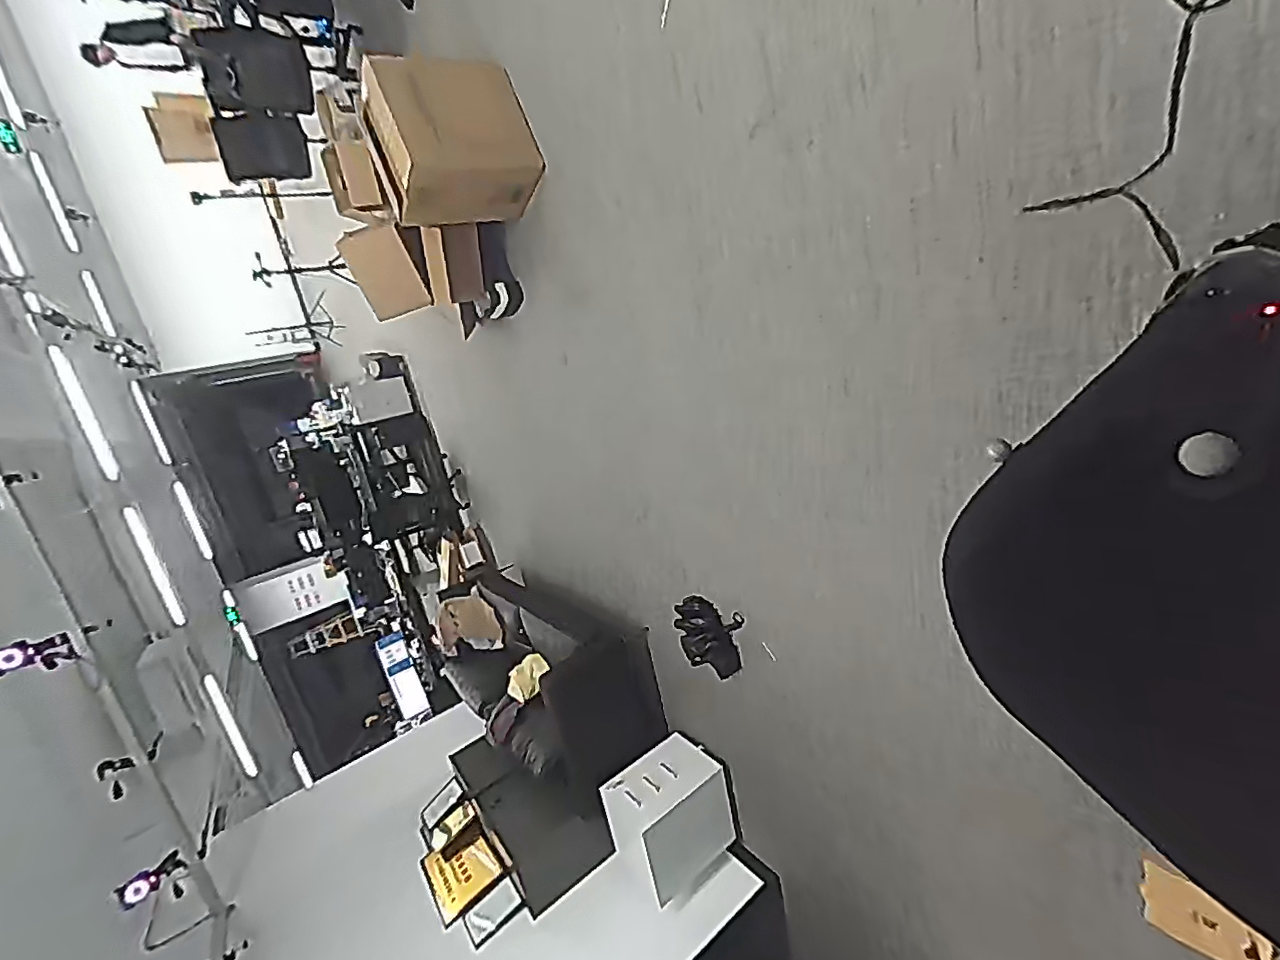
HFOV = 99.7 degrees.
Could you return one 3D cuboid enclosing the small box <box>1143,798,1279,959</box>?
[{"bbox_3d":[1.156,0.785,1.087,0.179,0.176,0.168,8,116,55],"label":"small box"}]
